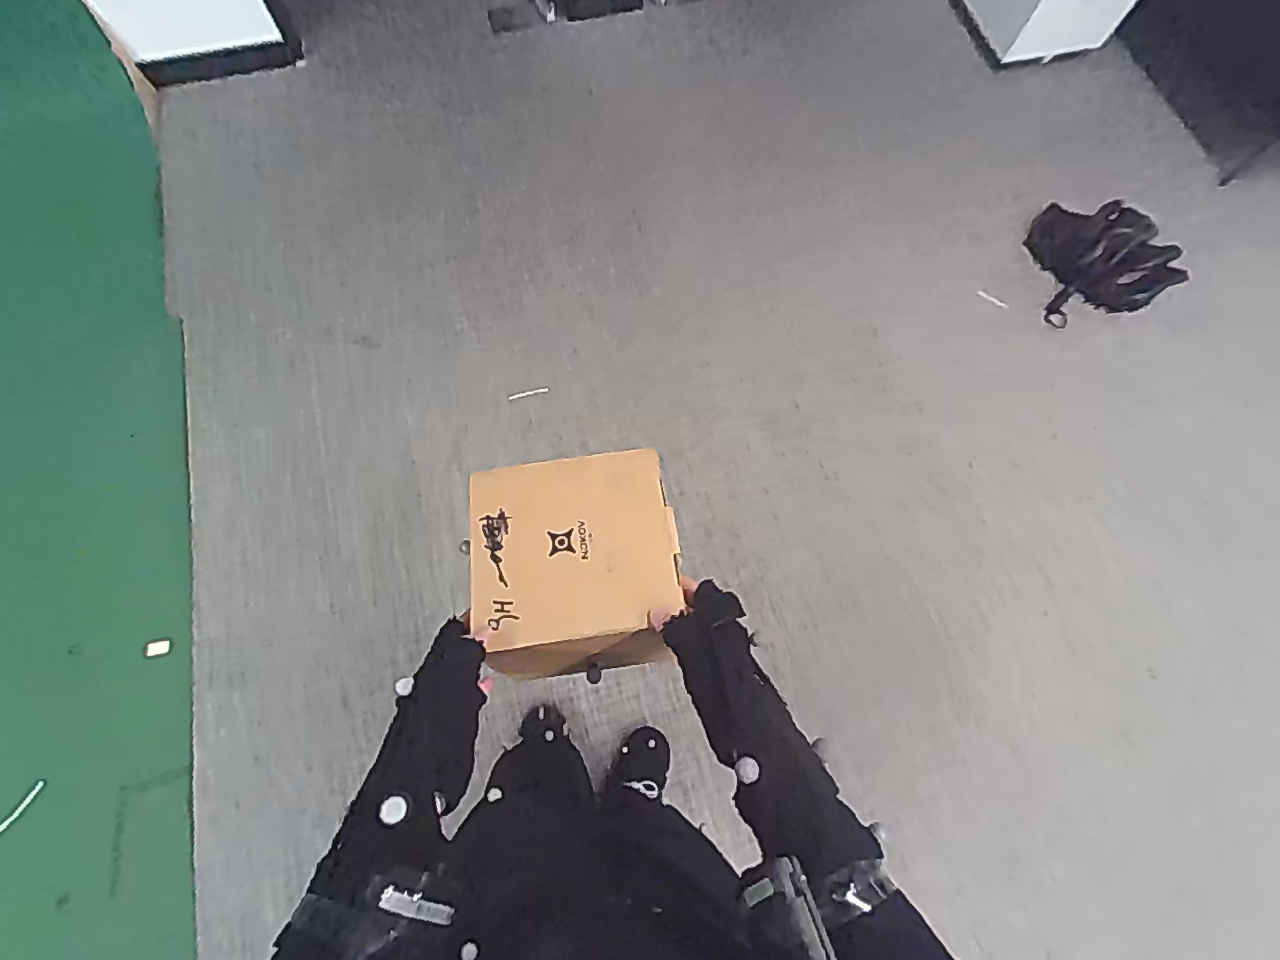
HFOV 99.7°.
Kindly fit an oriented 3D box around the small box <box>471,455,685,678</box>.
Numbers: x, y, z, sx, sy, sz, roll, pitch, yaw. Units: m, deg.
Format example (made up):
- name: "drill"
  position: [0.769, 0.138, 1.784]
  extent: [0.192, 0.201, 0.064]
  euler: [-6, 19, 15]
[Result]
- name: "small box"
  position: [-0.061, 0.093, 0.543]
  extent: [0.179, 0.176, 0.168]
  euler: [-6, 61, -5]
